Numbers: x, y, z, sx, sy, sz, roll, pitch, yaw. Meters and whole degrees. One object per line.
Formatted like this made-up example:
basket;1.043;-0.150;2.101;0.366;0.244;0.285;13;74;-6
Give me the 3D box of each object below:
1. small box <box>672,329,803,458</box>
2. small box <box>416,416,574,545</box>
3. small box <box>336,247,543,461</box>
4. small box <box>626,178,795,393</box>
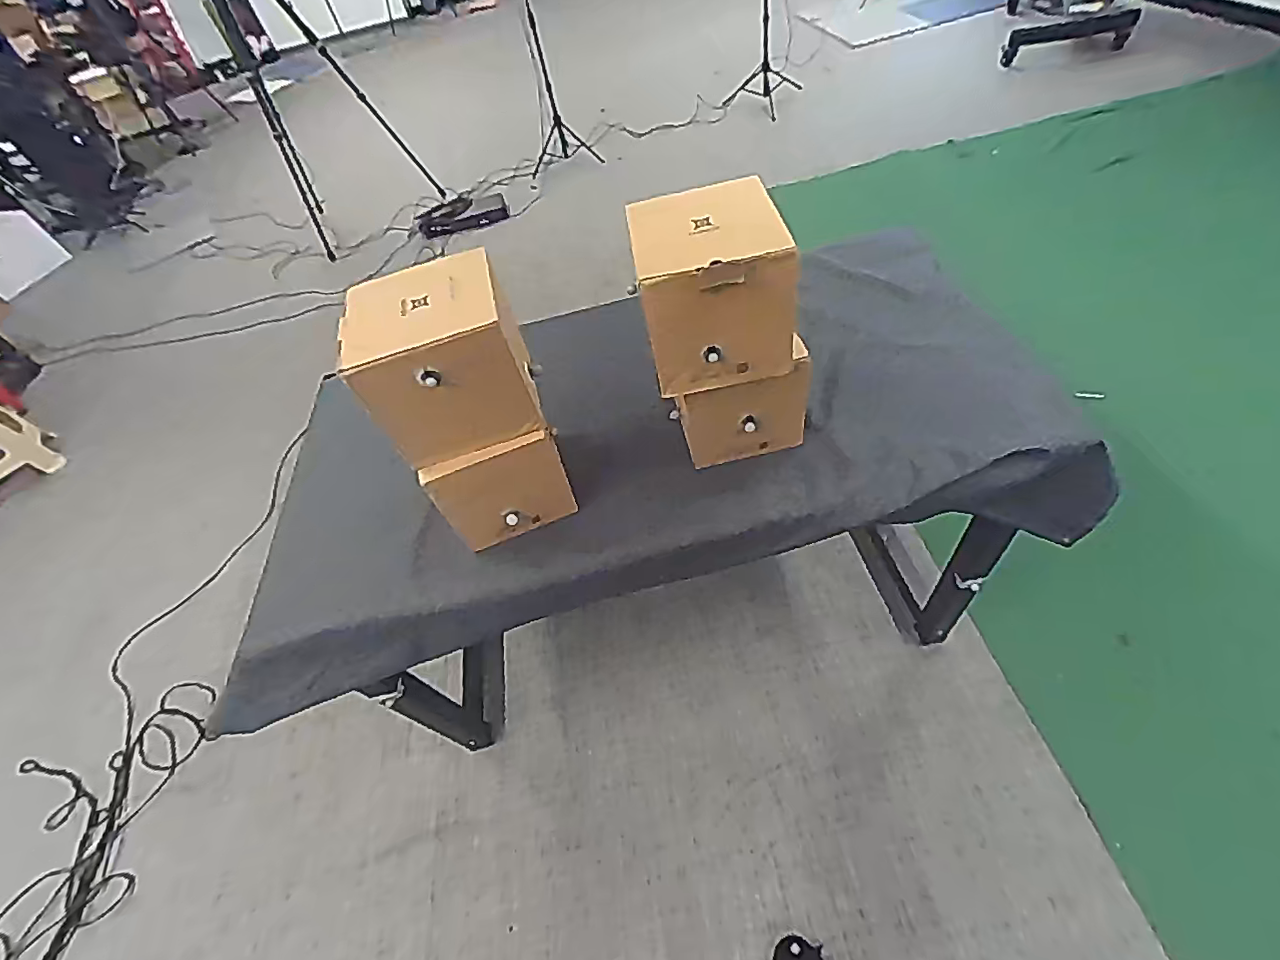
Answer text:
small box;0.131;-0.151;0.799;0.168;0.176;0.179;-14;51;2
small box;-0.210;-0.037;0.782;0.168;0.176;0.179;-22;52;-5
small box;-0.236;-0.148;0.665;0.179;0.176;0.168;-18;52;-3
small box;0.082;-0.235;0.665;0.168;0.176;0.179;-11;51;4
